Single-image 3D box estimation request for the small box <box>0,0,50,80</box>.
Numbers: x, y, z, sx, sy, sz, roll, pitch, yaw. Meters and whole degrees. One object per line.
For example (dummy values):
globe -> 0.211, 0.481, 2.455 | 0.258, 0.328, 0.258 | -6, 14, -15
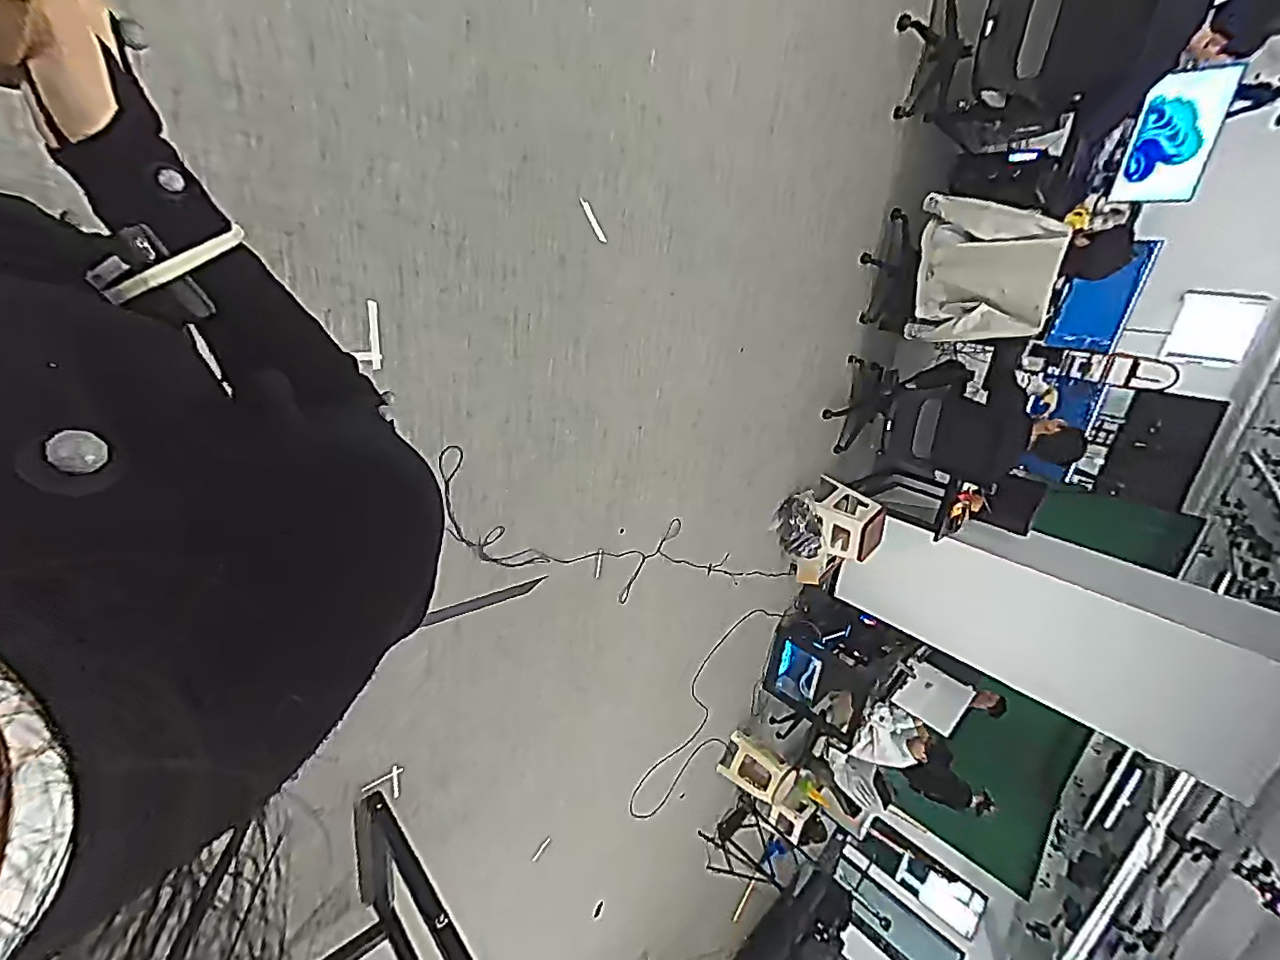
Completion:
small box -> -0.360, -0.264, 0.185 | 0.179, 0.176, 0.168 | -20, 118, -45
